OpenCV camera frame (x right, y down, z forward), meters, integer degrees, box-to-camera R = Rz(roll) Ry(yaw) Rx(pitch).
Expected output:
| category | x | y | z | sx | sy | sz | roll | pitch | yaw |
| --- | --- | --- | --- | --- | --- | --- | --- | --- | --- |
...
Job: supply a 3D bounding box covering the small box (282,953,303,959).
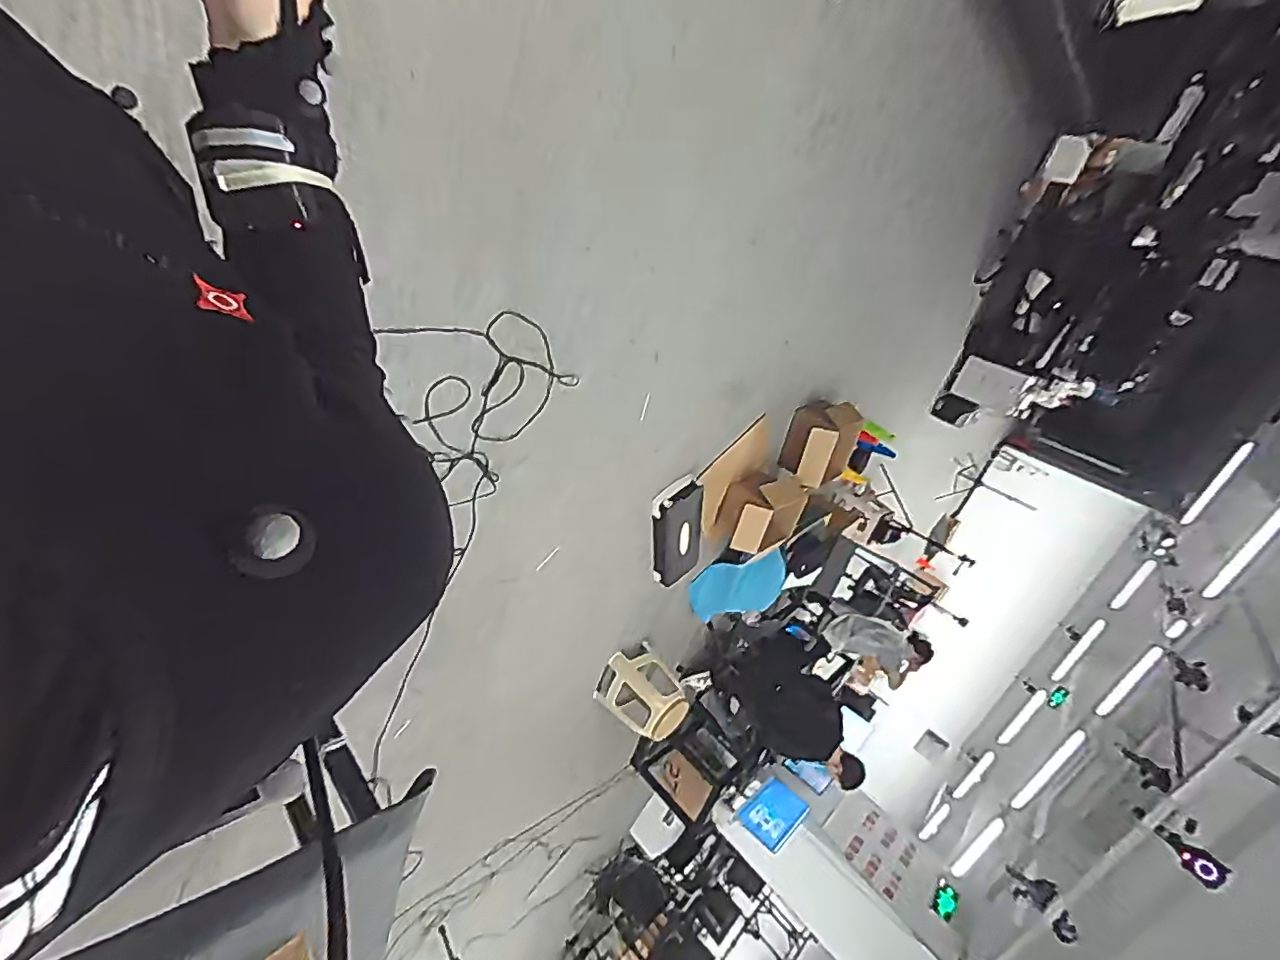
| category | x | y | z | sx | sy | sz | roll | pitch | yaw |
| --- | --- | --- | --- | --- | --- | --- | --- | --- | --- |
| small box | -0.704 | 1.069 | 1.033 | 0.168 | 0.176 | 0.179 | -22 | 134 | -40 |
